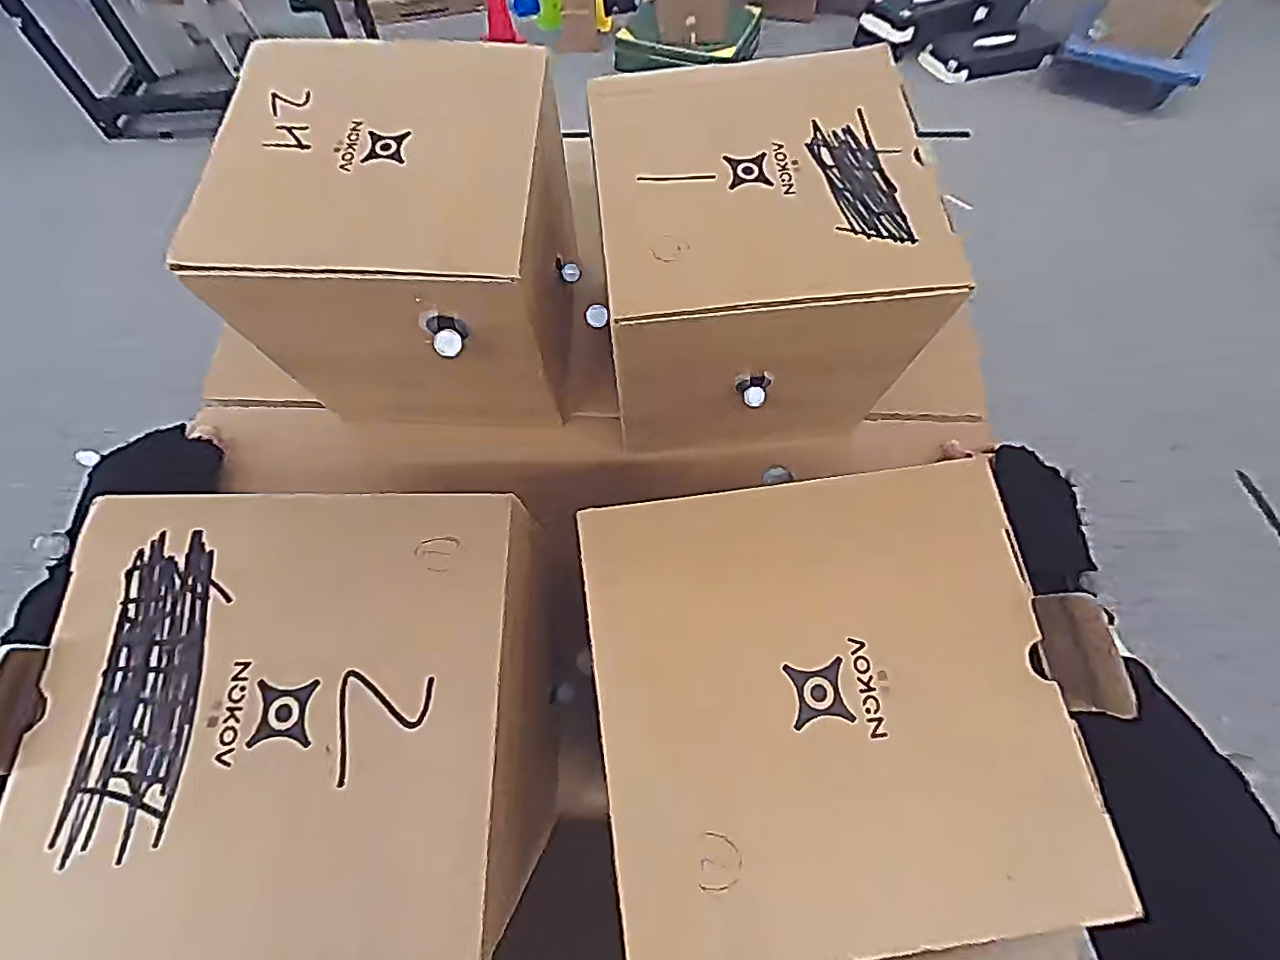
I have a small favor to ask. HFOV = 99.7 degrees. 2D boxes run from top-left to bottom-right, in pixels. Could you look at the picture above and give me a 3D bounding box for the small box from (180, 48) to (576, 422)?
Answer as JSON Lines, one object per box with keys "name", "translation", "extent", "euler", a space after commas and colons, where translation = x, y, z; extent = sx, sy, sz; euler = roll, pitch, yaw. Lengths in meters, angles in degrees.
{"name": "small box", "translation": [-0.143, -0.150, 0.373], "extent": [0.179, 0.176, 0.168], "euler": [3, 70, 1]}
